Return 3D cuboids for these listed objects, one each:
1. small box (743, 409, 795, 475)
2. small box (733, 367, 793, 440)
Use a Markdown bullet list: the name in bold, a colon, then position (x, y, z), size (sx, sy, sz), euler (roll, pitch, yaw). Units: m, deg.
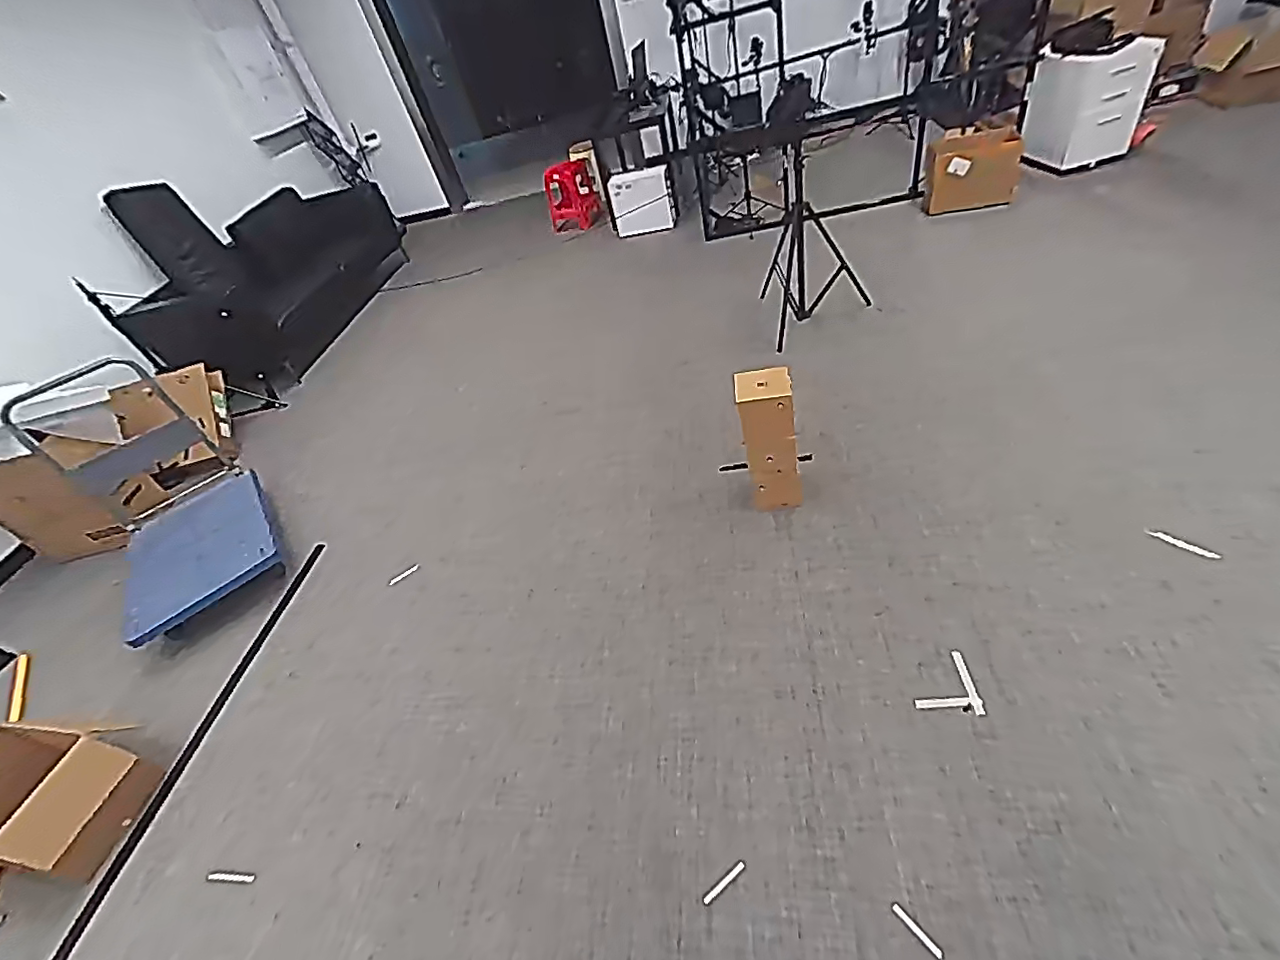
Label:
- **small box**: position (0.454, -0.131, 1.894), size (0.168, 0.176, 0.179), euler (-3, 43, 15)
- **small box**: position (0.407, -0.247, 1.790), size (0.179, 0.176, 0.168), euler (-6, 43, 12)
